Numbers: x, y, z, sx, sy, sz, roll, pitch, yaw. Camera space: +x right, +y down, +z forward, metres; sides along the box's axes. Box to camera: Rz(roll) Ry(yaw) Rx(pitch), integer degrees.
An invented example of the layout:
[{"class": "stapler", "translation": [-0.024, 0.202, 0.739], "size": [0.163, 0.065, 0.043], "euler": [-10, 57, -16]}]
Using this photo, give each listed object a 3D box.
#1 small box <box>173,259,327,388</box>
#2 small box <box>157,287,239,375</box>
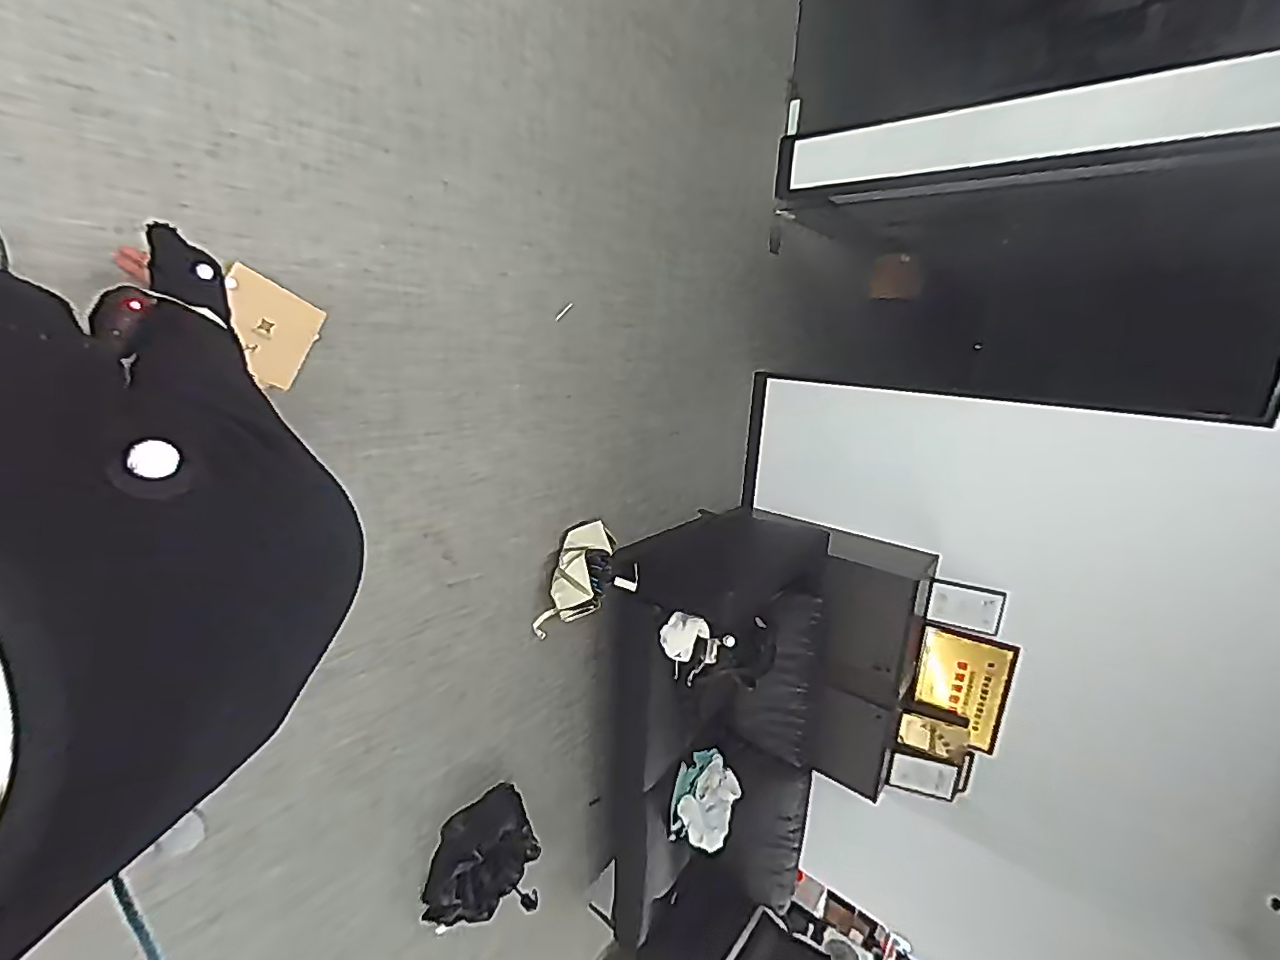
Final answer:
[{"class": "small box", "translation": [-0.754, -0.301, 1.043], "size": [0.168, 0.176, 0.179], "euler": [32, 78, -52]}, {"class": "small box", "translation": [-0.873, -0.316, 1.131], "size": [0.179, 0.176, 0.168], "euler": [-22, 120, -47]}]
